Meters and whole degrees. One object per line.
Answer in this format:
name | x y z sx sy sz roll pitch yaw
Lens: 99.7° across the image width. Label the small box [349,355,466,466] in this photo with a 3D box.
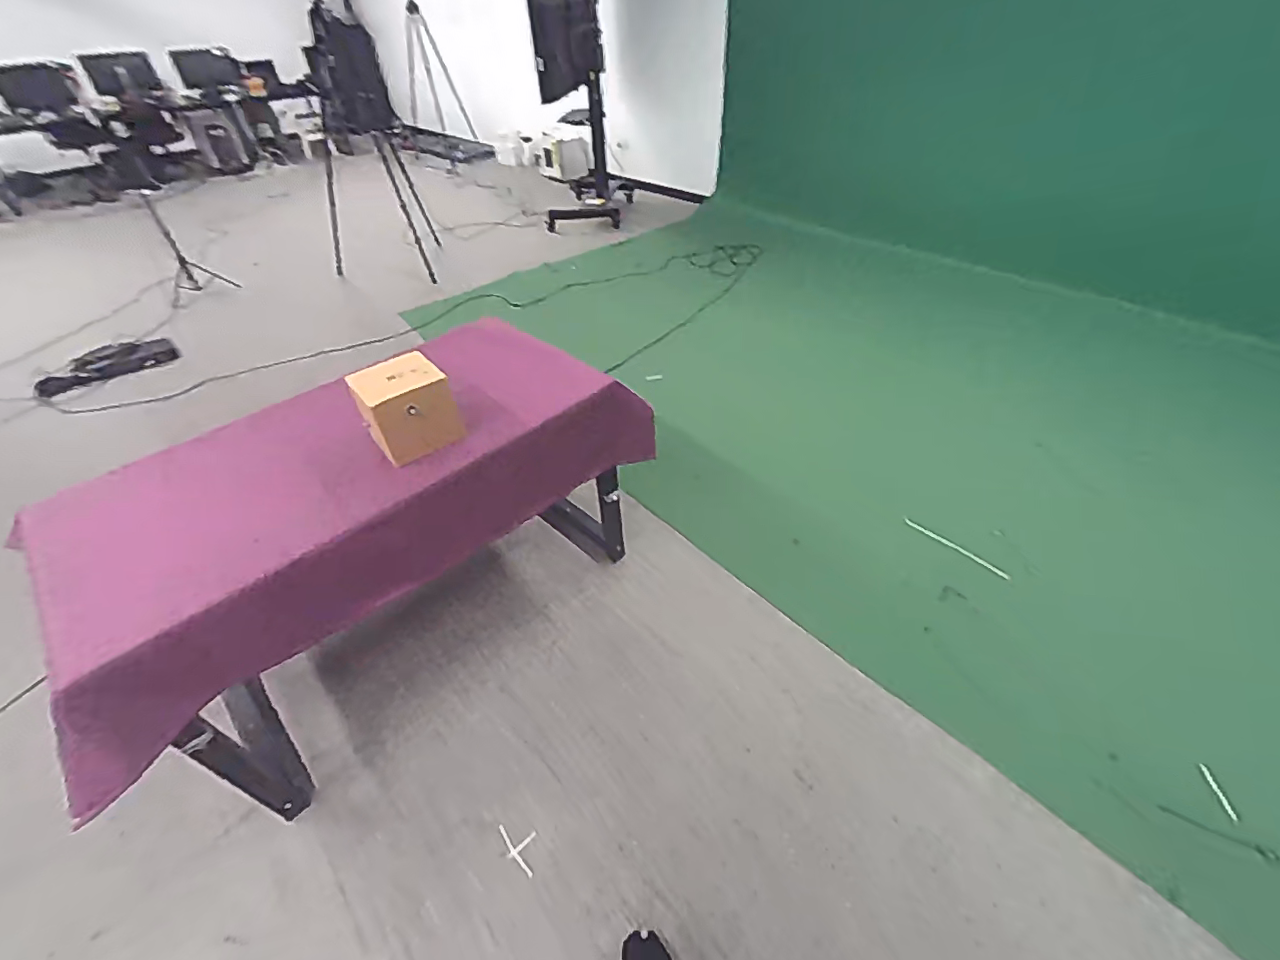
small box | -0.533 -0.160 1.255 0.179 0.176 0.168 -31 49 -26
